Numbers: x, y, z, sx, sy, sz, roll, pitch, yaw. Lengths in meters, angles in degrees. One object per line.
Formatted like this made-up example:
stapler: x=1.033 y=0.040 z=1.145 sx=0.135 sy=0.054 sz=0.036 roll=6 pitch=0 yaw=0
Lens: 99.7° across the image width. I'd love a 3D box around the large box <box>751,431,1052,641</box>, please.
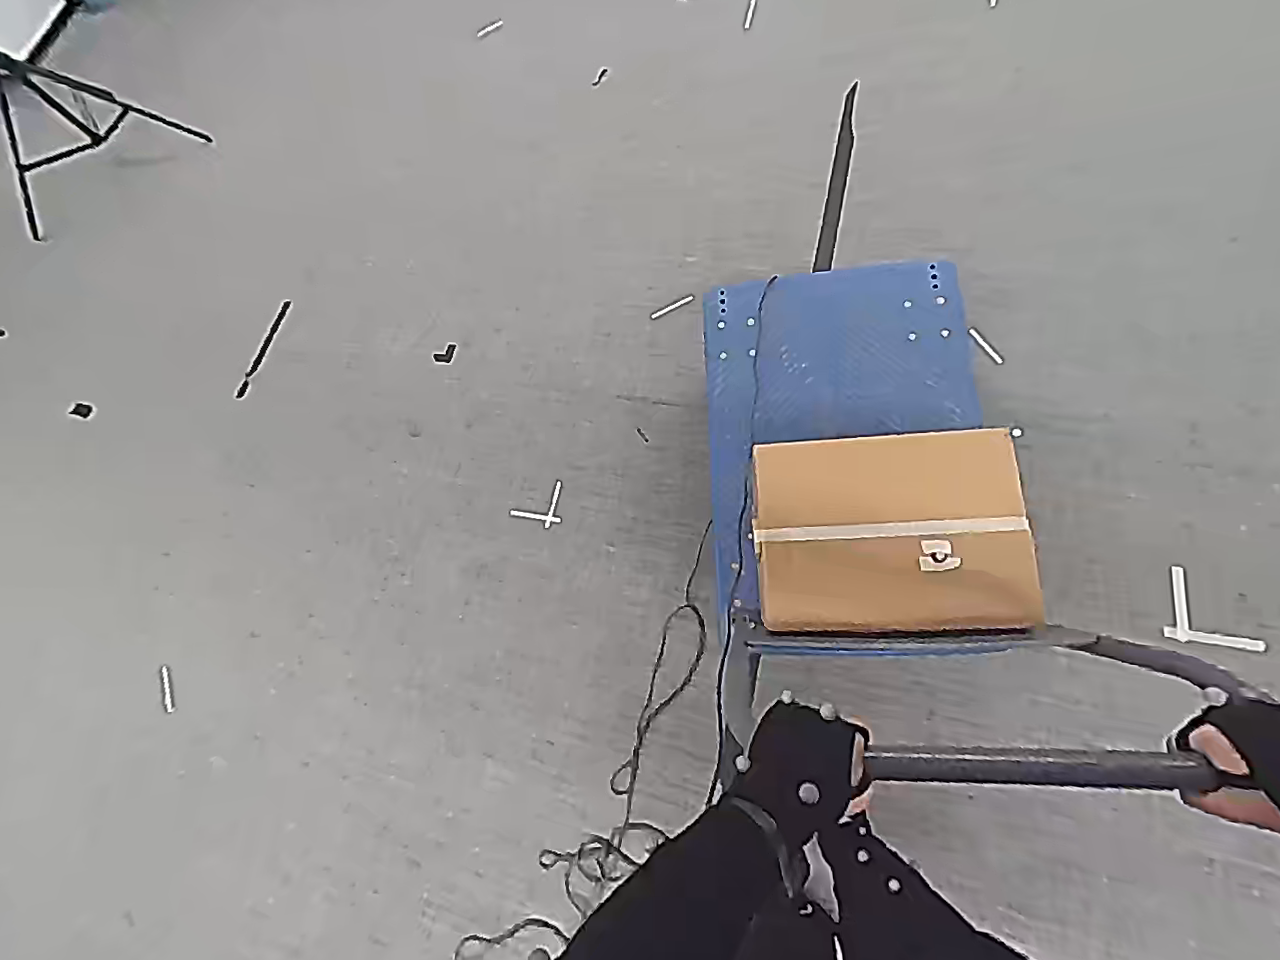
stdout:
large box: x=0.422 y=0.119 z=0.989 sx=0.408 sy=0.320 sz=0.320 roll=-4 pitch=77 yaw=10
